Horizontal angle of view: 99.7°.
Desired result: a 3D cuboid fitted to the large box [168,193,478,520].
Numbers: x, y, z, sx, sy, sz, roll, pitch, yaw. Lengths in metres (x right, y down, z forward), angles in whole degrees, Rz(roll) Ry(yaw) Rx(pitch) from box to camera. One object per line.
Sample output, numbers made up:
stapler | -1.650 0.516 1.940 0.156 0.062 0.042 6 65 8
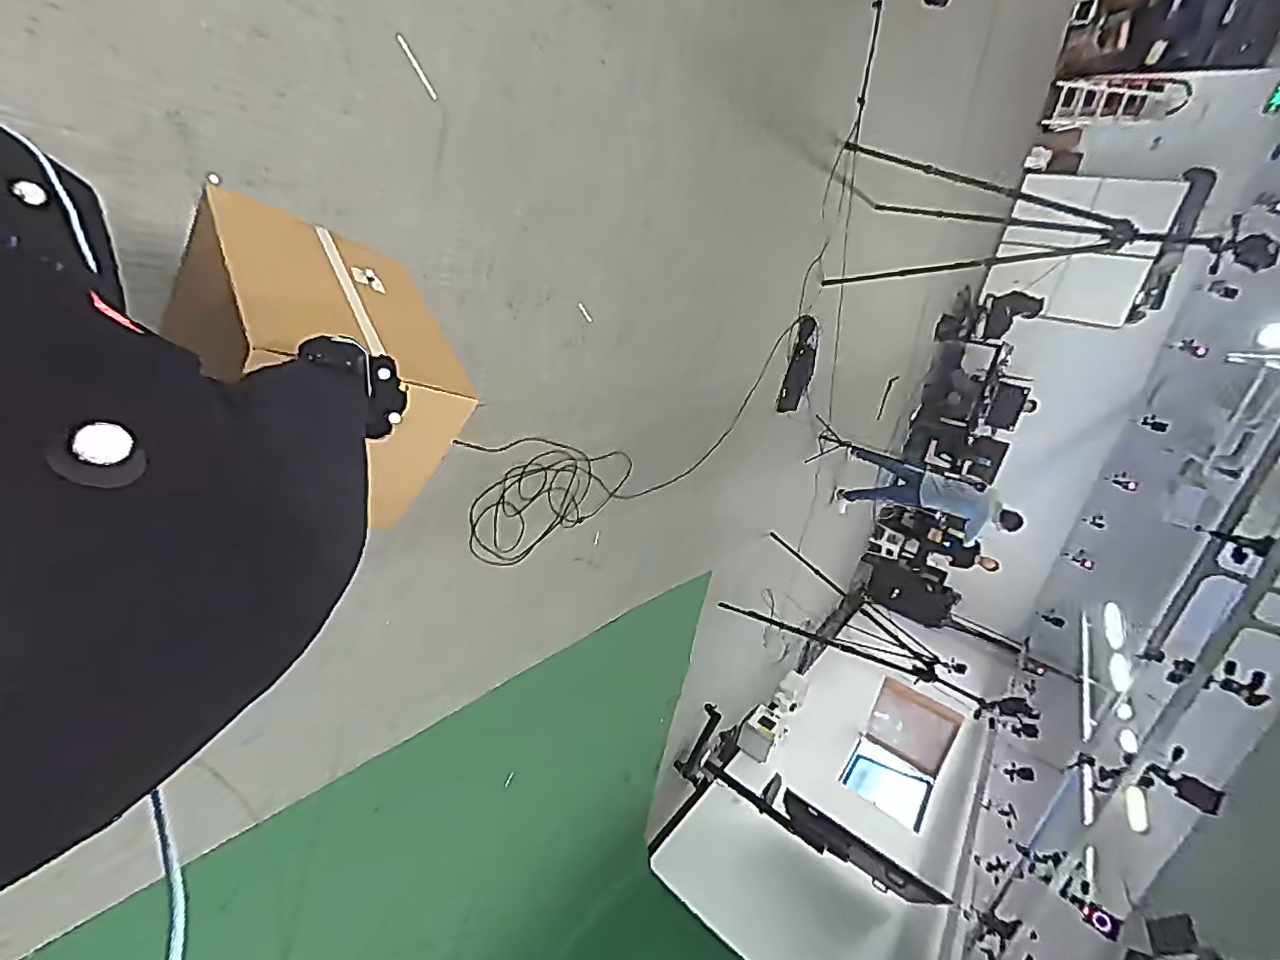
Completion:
large box | -0.541 -0.179 0.903 0.320 0.408 0.320 7 131 -52
